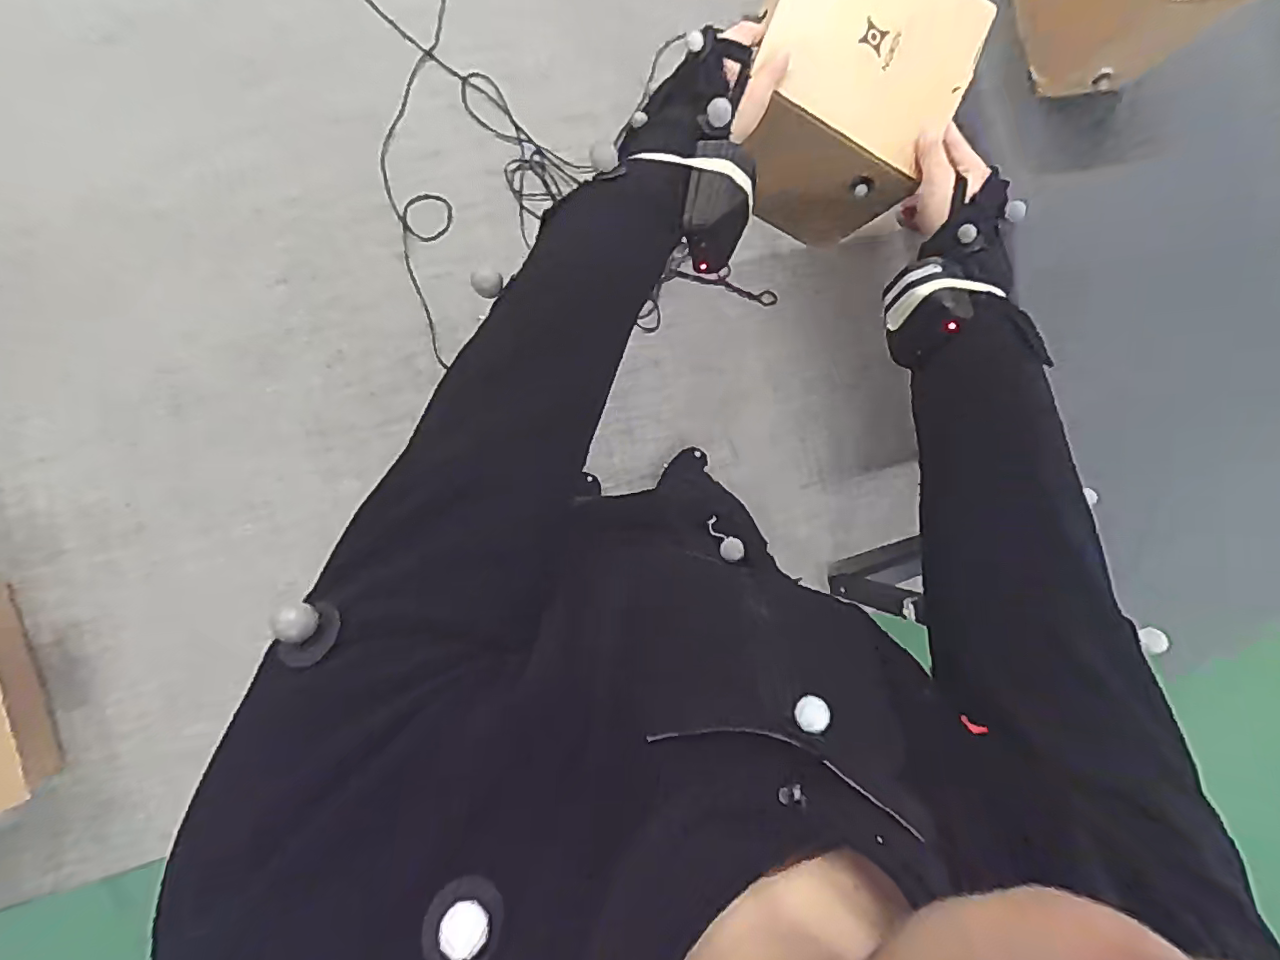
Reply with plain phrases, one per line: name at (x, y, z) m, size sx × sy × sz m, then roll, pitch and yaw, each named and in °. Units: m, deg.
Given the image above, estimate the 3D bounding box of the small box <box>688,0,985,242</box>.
small box at (0.165, -0.356, 0.510) m, size 0.179 × 0.176 × 0.168 m, roll 22°, pitch 89°, yaw -13°

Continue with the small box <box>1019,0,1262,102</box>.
small box at (0.629, -0.633, 0.693) m, size 0.168 × 0.176 × 0.179 m, roll -16°, pitch 93°, yaw -11°
